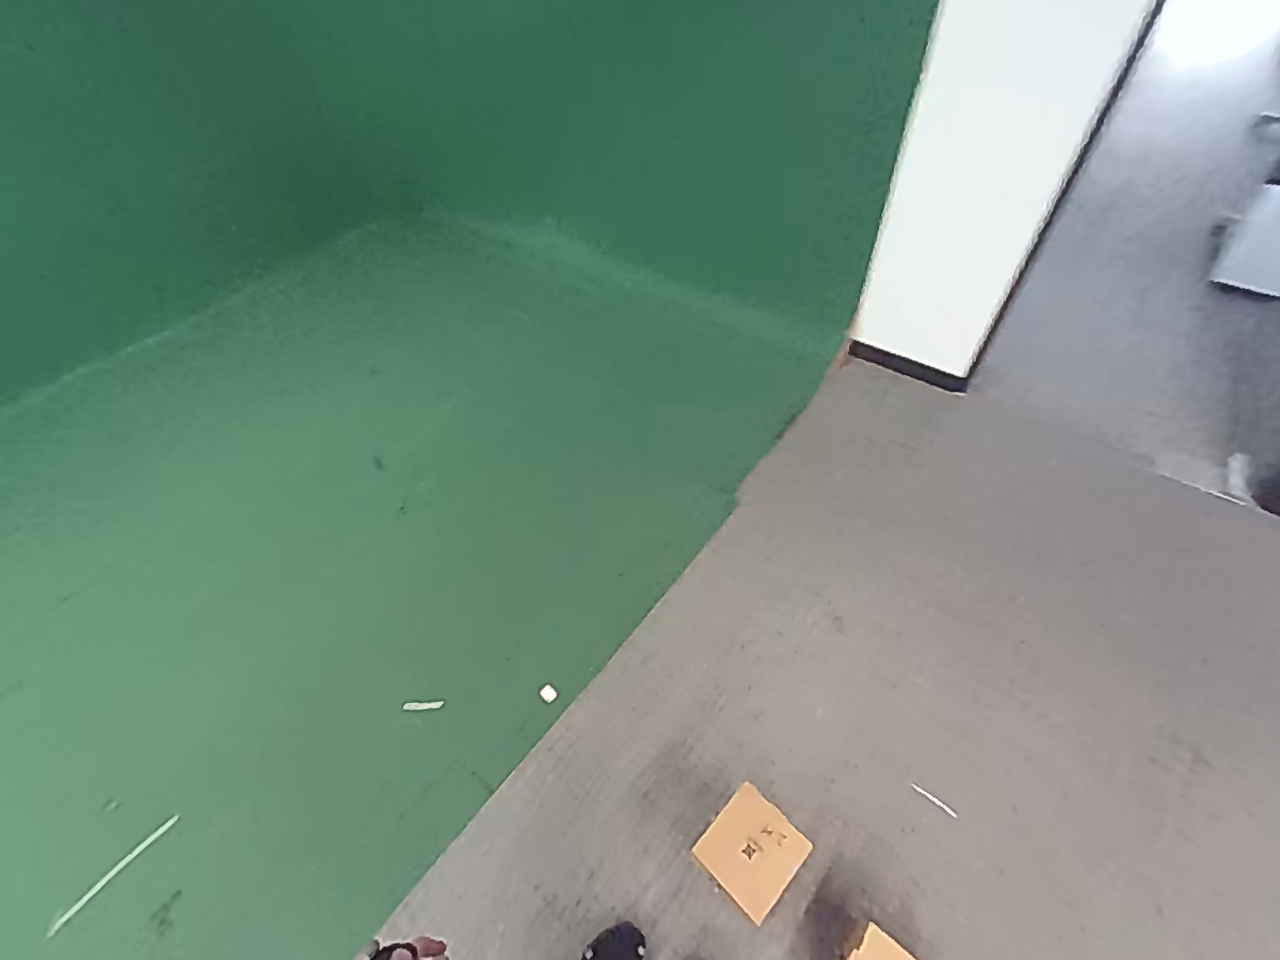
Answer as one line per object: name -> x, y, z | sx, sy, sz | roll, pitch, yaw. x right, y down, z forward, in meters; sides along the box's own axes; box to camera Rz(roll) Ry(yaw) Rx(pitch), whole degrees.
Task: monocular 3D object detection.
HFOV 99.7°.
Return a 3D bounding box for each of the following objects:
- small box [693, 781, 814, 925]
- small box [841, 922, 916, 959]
small box -> 0.228, 0.765, 1.110 | 0.179, 0.176, 0.168 | -39, 58, -23
small box -> 0.491, 1.033, 1.078 | 0.179, 0.176, 0.168 | 31, 62, 28
